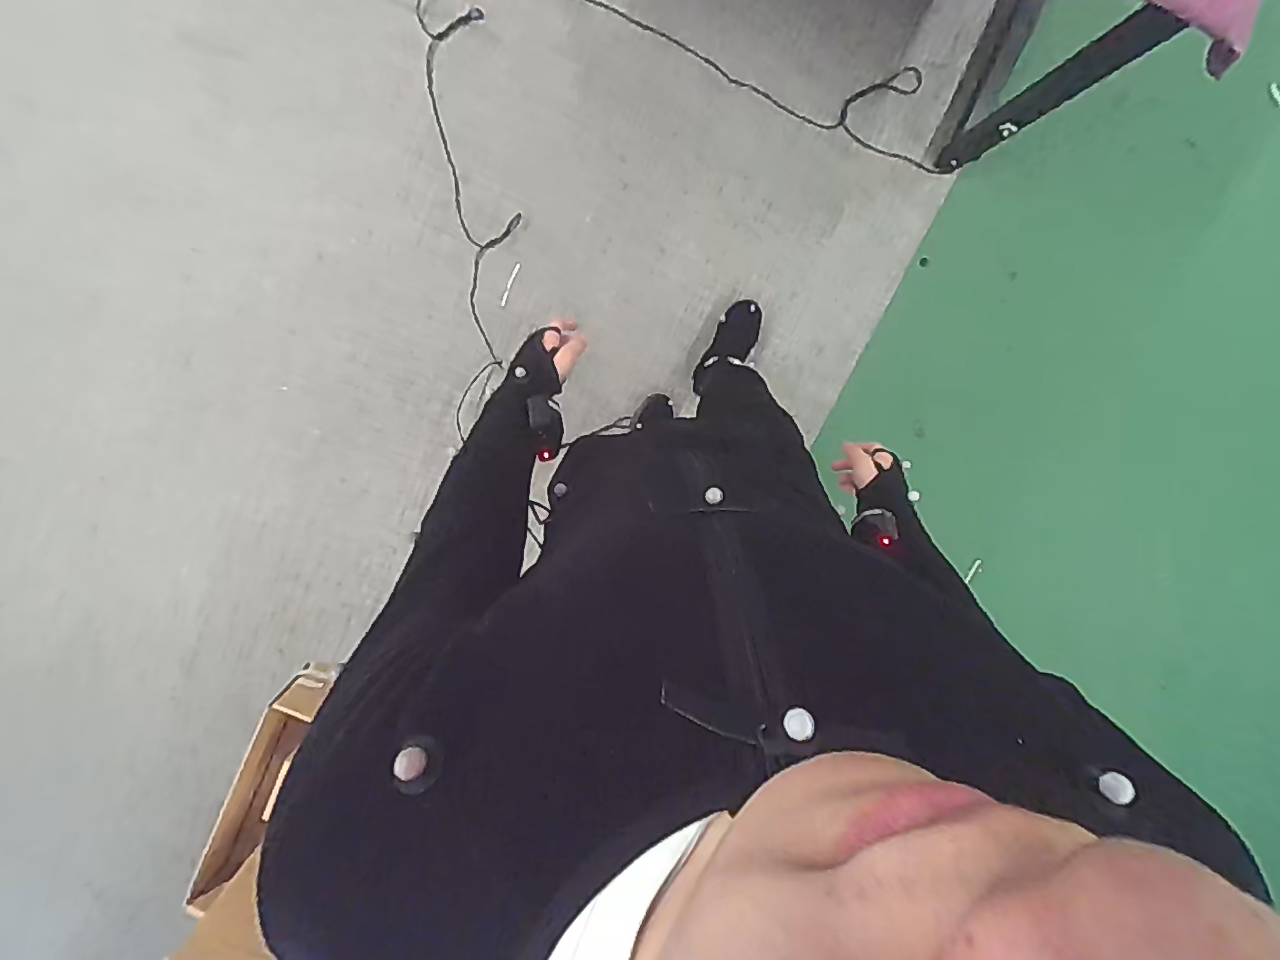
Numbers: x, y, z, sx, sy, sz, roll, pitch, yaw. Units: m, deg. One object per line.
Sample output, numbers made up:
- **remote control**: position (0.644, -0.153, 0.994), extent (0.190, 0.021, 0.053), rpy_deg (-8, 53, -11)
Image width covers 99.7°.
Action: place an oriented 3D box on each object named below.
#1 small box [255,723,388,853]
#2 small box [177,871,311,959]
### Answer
- **small box**: position (-0.715, 0.690, 1.232), extent (0.179, 0.176, 0.168), rpy_deg (25, 101, -7)
- **small box**: position (-0.830, 0.967, 1.123), extent (0.179, 0.176, 0.168), rpy_deg (28, 98, -8)
